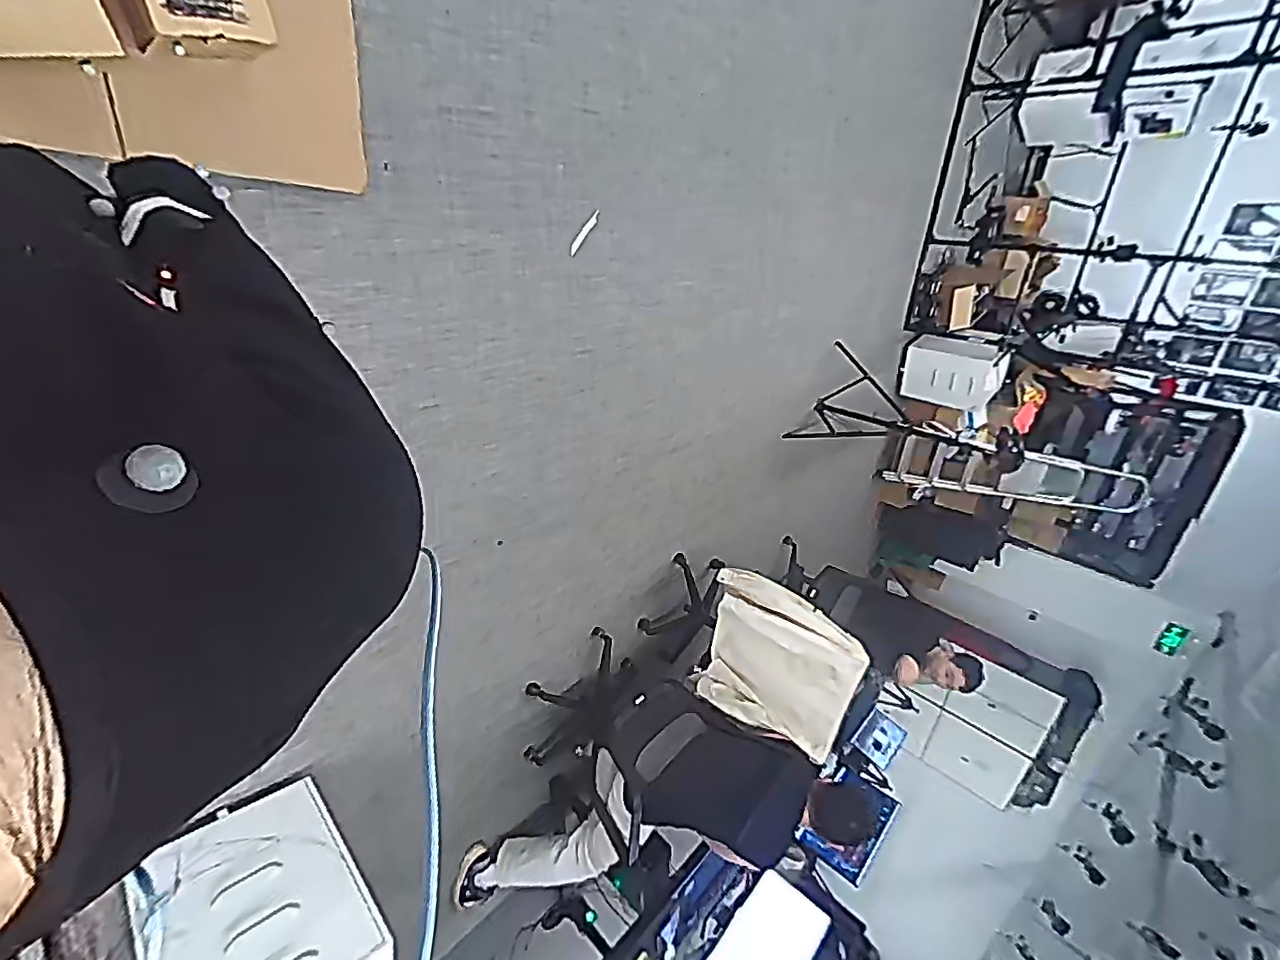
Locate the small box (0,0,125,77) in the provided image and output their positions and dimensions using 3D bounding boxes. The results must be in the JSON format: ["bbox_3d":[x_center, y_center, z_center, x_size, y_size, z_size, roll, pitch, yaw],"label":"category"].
[{"bbox_3d":[-0.868,-0.665,0.737,0.179,0.176,0.168,-34,131,-35],"label":"small box"}]
